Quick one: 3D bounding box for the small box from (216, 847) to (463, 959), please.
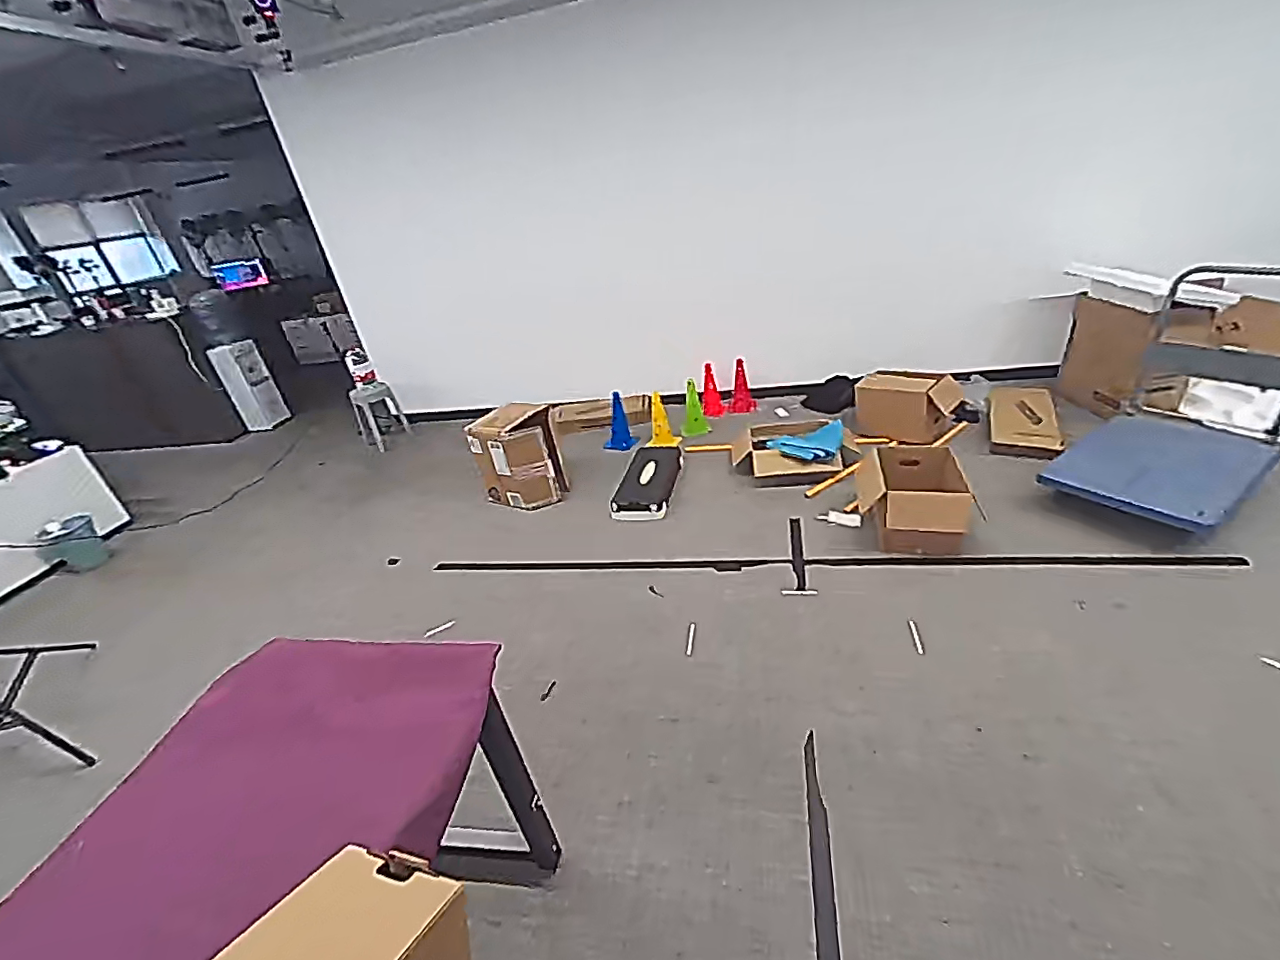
[{"bbox_3d":[-0.280,0.504,0.509,0.168,0.176,0.179,-1,6,23],"label":"small box"}]
